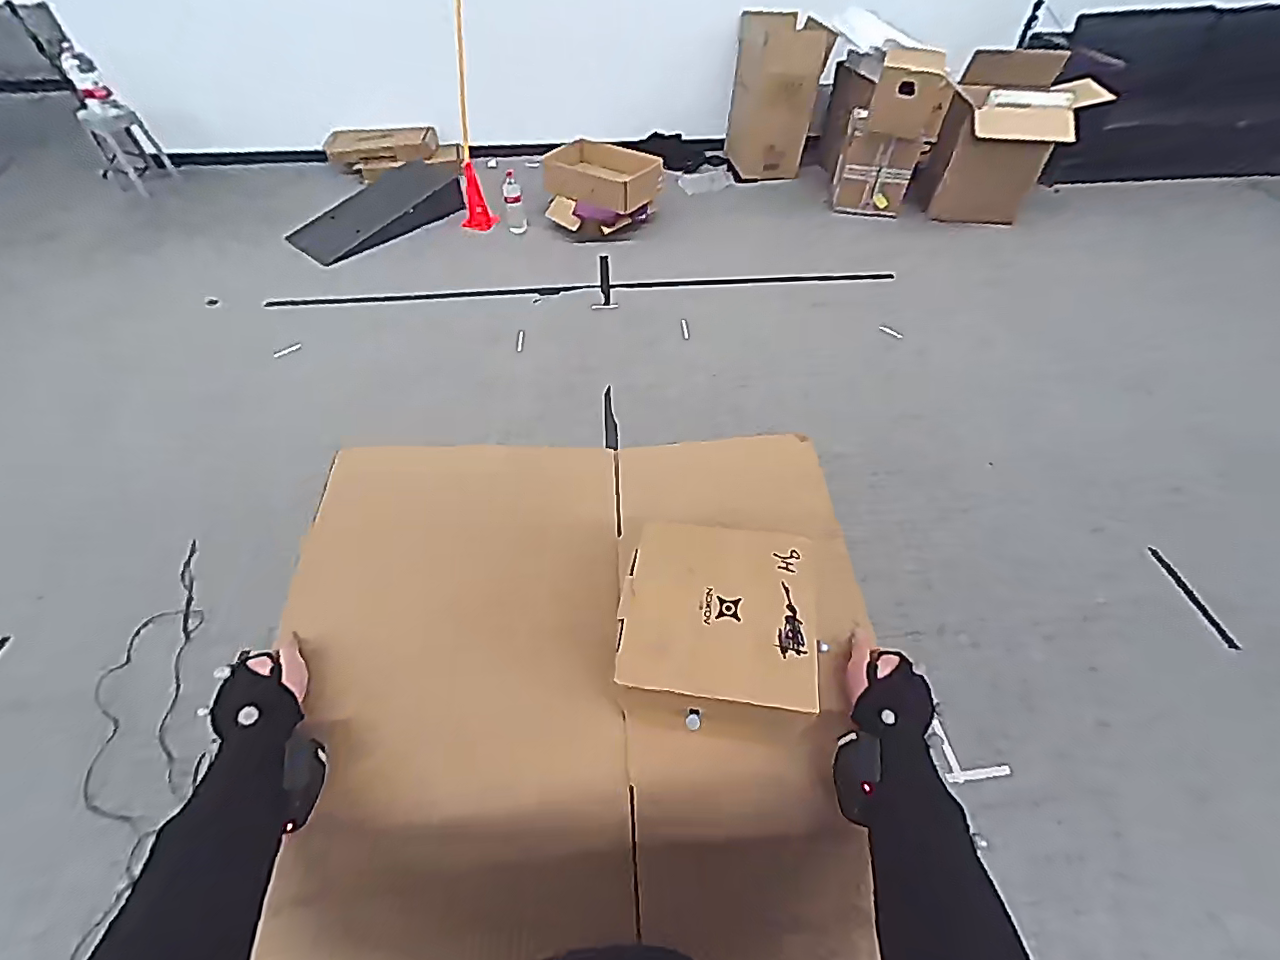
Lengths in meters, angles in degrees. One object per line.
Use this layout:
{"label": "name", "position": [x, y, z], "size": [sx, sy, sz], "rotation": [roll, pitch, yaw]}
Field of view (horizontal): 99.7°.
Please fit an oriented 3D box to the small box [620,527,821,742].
{"label": "small box", "position": [0.087, 0.167, 0.573], "size": [0.179, 0.176, 0.168], "rotation": [4, 55, 10]}
